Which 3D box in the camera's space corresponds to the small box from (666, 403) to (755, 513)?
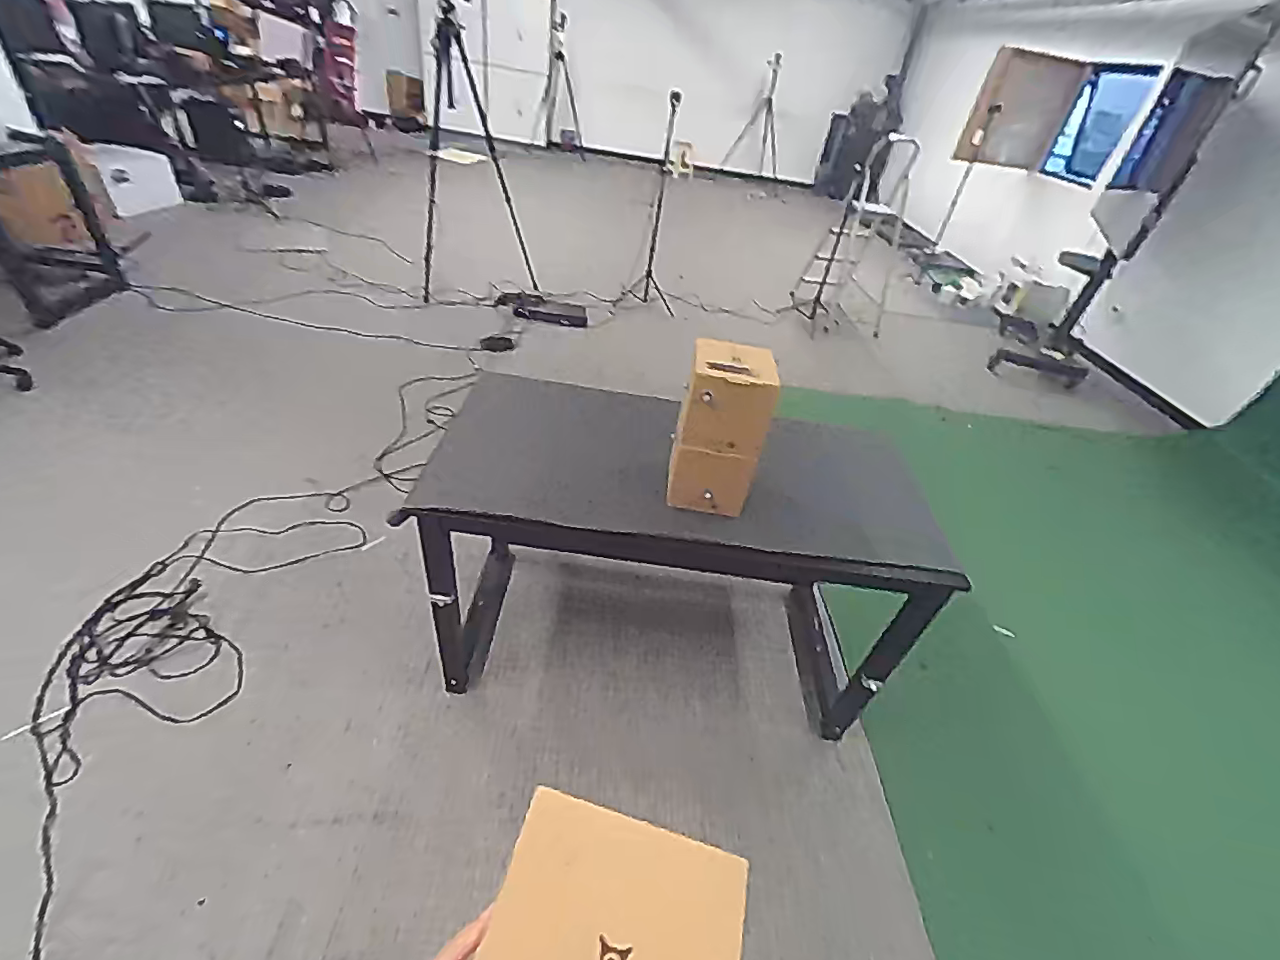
[{"bbox_3d":[0.155,-0.051,1.236,0.168,0.176,0.179,8,38,-1],"label":"small box"}]
